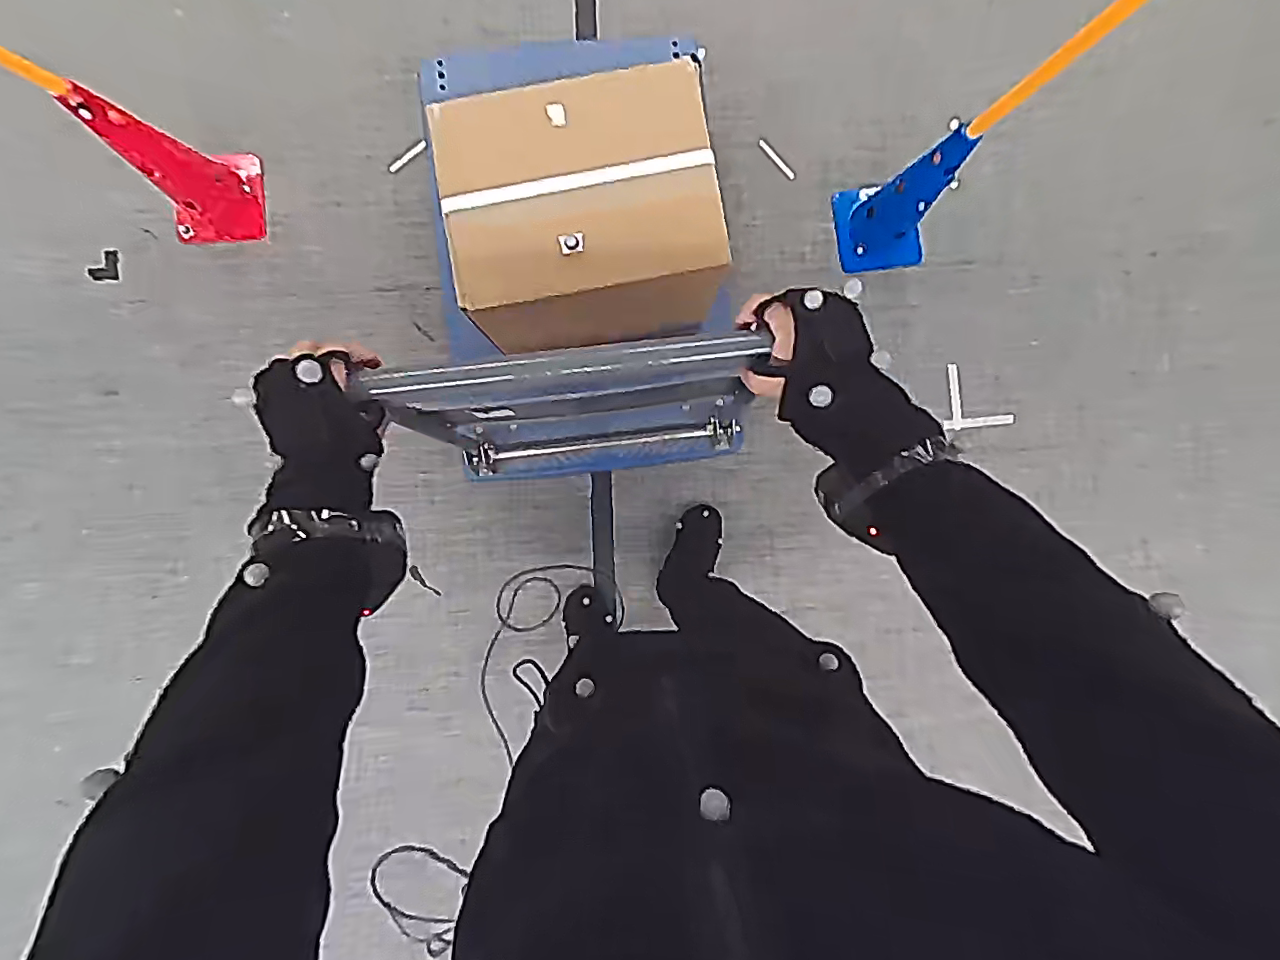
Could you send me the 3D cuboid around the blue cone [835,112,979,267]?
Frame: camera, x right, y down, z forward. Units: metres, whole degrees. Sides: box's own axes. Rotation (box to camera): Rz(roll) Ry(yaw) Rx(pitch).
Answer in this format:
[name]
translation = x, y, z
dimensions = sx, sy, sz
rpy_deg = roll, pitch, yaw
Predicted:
[blue cone]
translation = 0.578, -0.615, 1.136
dimensions = 0.193, 0.380, 0.192
rpy_deg = -7, 89, -2
